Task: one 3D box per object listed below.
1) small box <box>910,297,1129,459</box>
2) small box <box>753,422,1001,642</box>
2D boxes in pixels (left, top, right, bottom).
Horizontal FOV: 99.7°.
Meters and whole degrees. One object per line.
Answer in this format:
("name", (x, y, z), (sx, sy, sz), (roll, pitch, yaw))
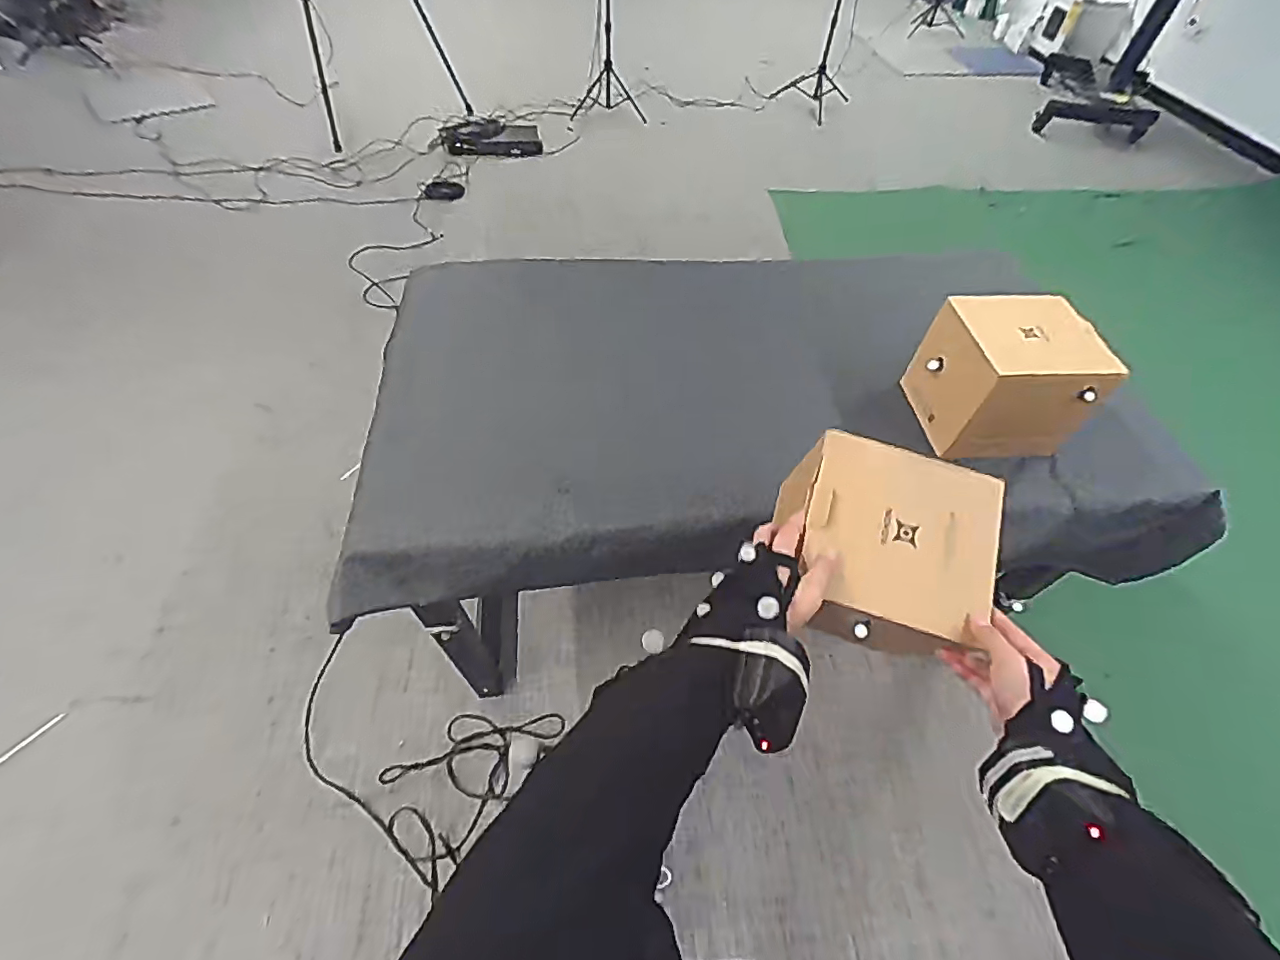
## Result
("small box", (0.519, -0.142, 0.779), (0.179, 0.176, 0.168), (-2, 53, -4))
("small box", (0.234, 0.066, 0.571), (0.179, 0.176, 0.168), (18, 72, 4))
